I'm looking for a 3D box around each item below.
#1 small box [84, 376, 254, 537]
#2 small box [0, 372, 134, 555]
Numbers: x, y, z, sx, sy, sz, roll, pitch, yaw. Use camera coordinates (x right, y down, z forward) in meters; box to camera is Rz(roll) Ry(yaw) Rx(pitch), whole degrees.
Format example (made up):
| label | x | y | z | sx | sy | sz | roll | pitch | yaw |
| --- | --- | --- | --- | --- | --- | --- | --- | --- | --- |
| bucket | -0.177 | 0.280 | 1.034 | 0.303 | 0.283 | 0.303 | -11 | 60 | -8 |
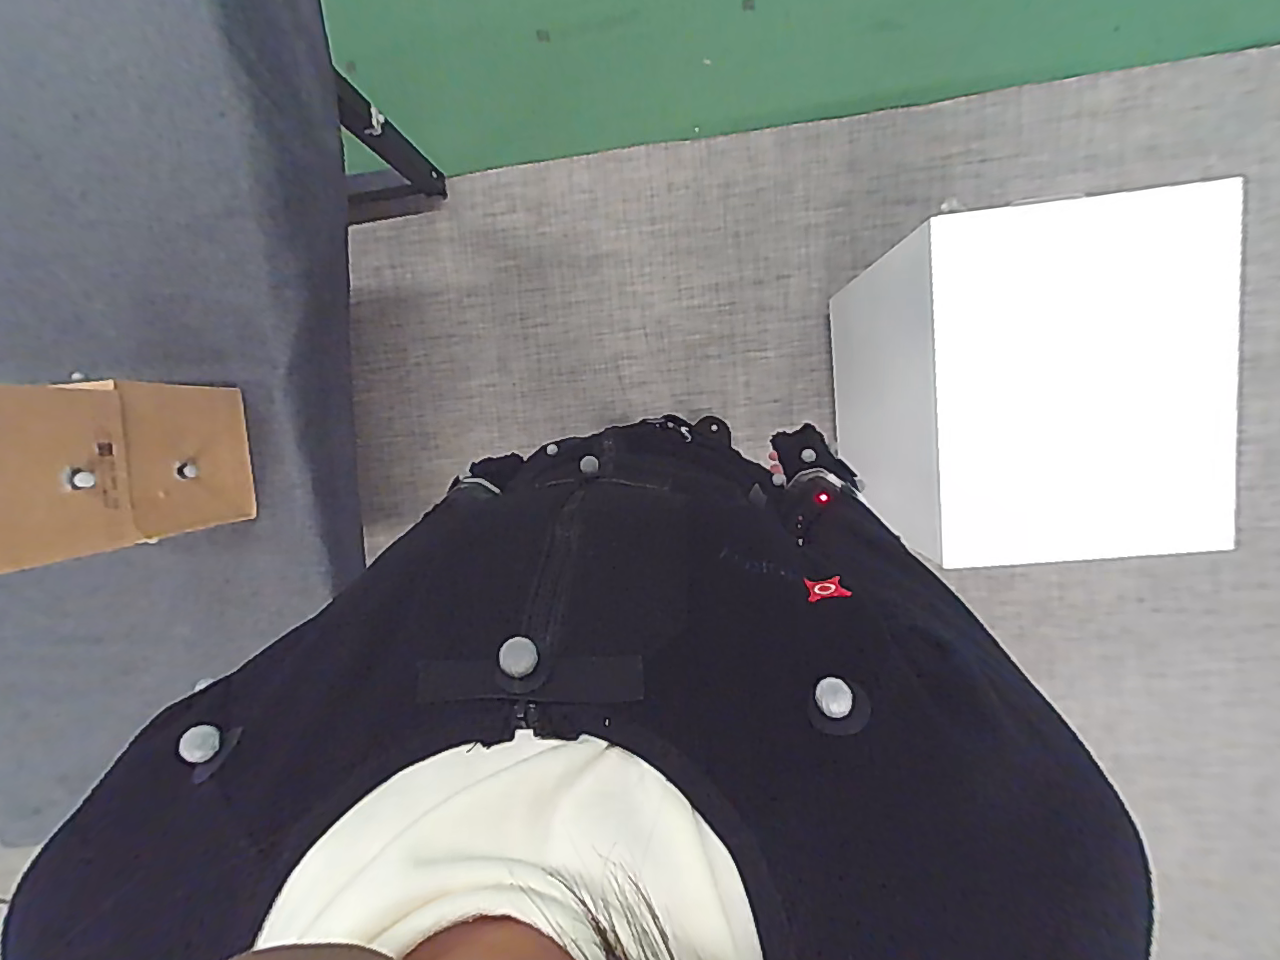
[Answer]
| label | x | y | z | sx | sy | sz | roll | pitch | yaw |
| --- | --- | --- | --- | --- | --- | --- | --- | --- | --- |
| small box | -0.619 | -0.033 | 0.667 | 0.168 | 0.176 | 0.179 | -3 | 97 | 6 |
| small box | -0.640 | -0.013 | 0.505 | 0.179 | 0.176 | 0.168 | -3 | 97 | 8 |
